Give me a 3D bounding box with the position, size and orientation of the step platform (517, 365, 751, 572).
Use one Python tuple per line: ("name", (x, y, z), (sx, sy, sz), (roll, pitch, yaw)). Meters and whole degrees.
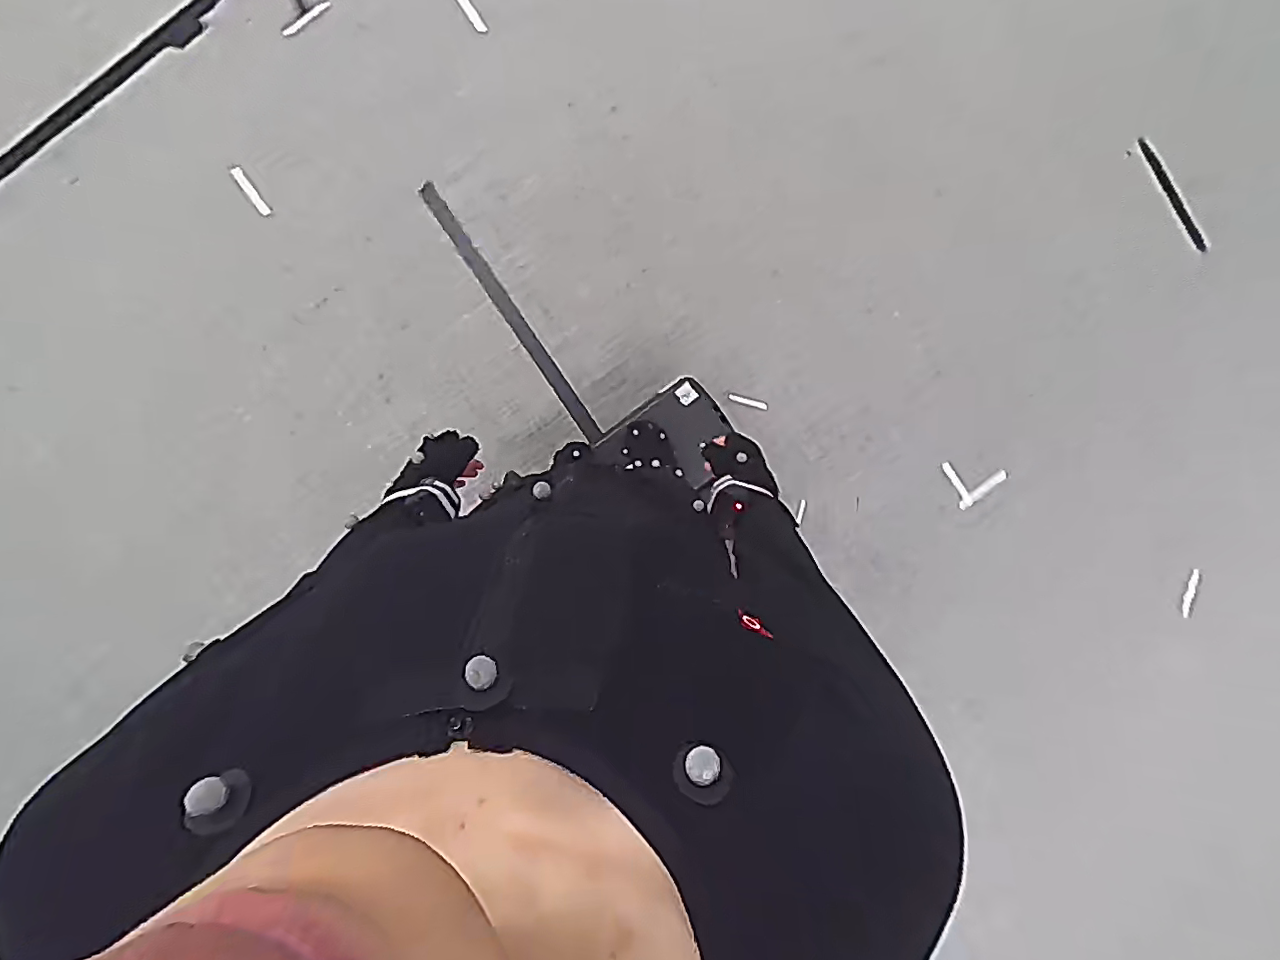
("step platform", (-0.020, -0.034, 1.571), (0.684, 0.204, 0.286), (-37, 96, 2))
